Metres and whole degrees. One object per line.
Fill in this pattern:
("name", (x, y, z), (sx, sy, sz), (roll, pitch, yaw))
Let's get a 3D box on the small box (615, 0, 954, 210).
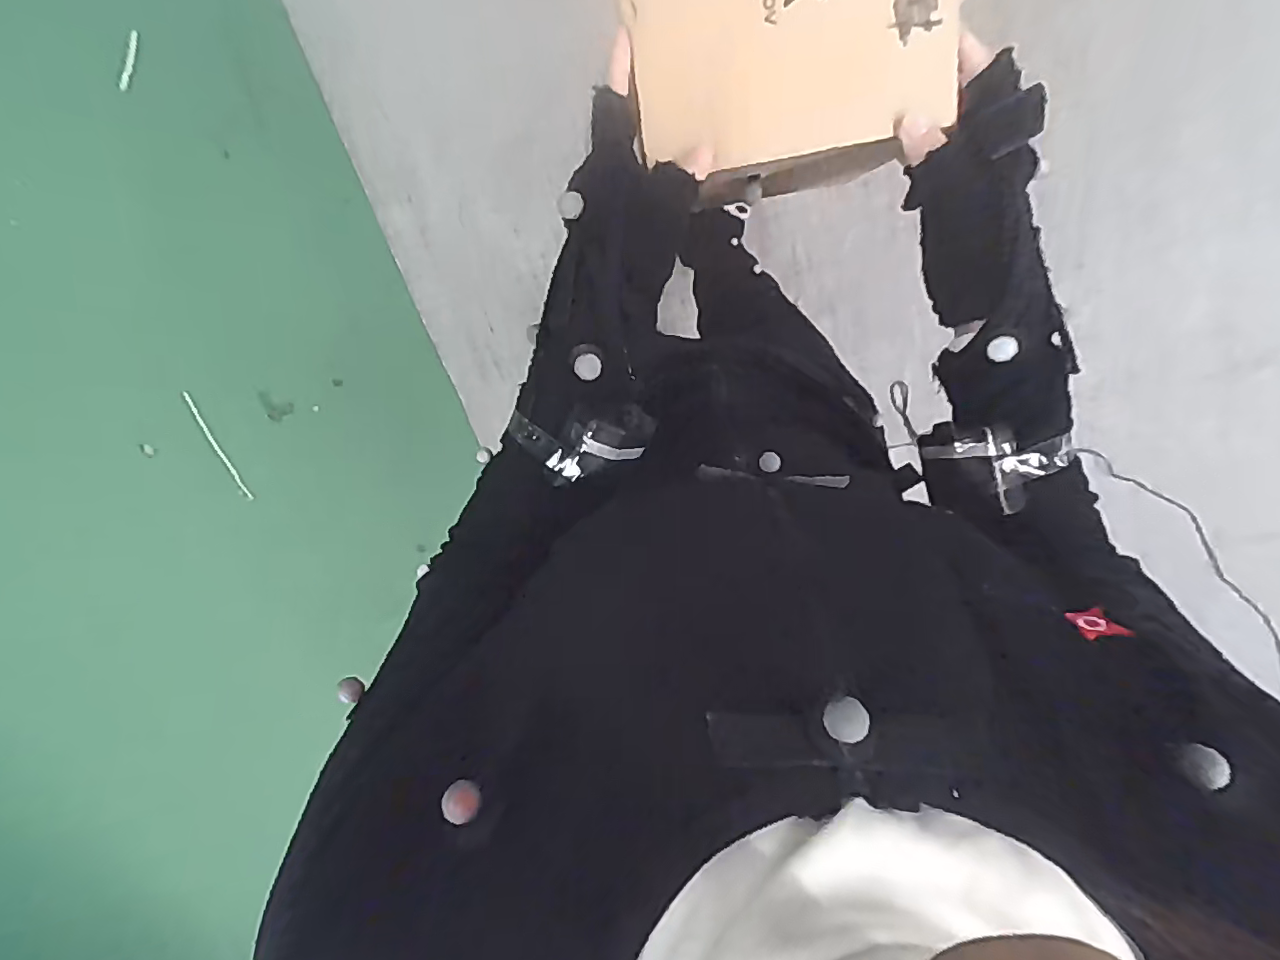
("small box", (0.077, -0.298, 0.362), (0.179, 0.176, 0.168), (-11, 107, 6))
